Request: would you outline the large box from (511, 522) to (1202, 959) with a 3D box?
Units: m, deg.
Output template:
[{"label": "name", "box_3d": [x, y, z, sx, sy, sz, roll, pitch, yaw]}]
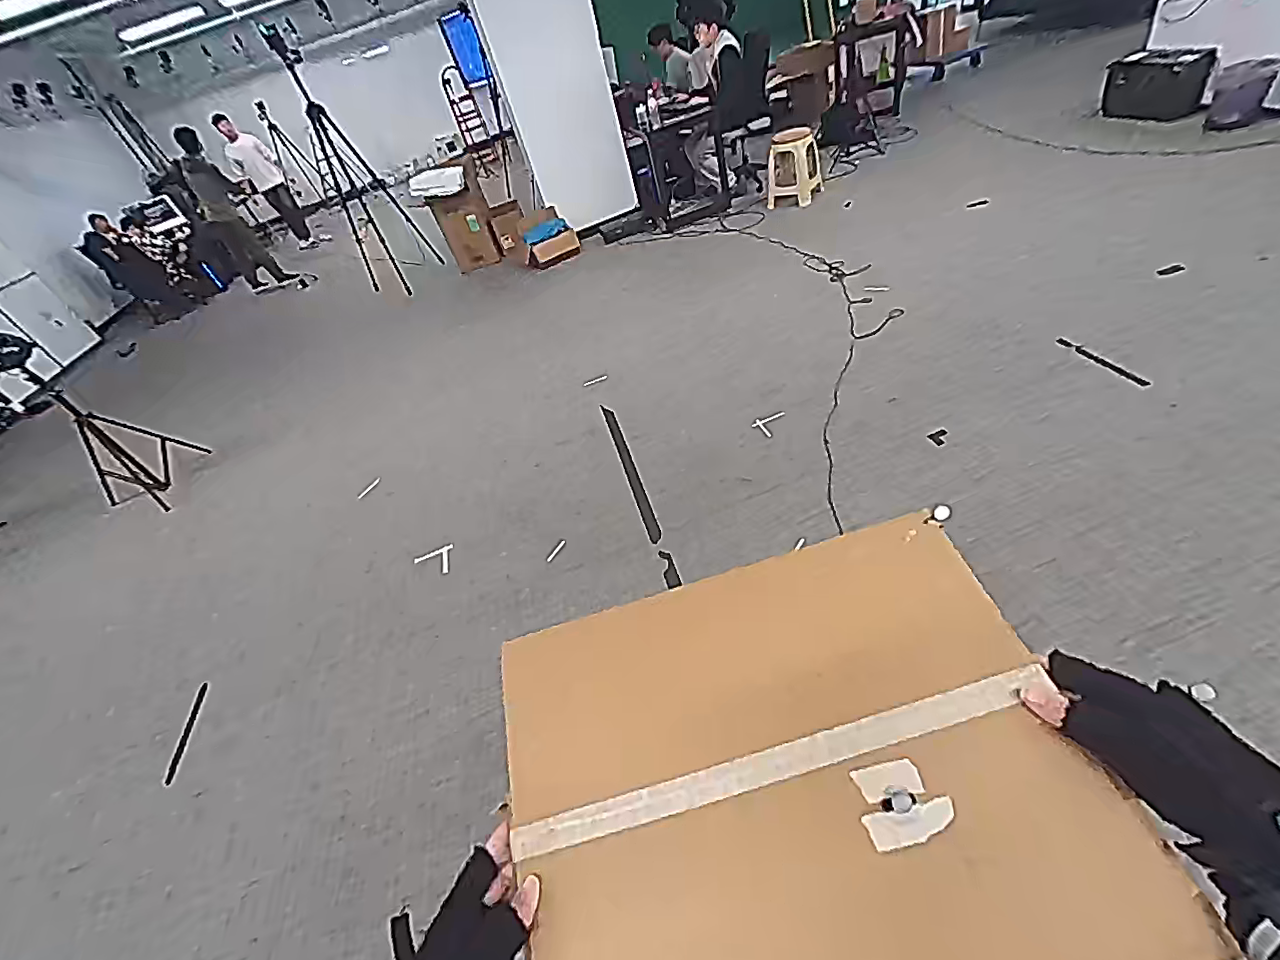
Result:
[{"label": "large box", "box_3d": [0.133, 0.302, 0.521, 0.408, 0.320, 0.320, -18, 52, 0]}]
